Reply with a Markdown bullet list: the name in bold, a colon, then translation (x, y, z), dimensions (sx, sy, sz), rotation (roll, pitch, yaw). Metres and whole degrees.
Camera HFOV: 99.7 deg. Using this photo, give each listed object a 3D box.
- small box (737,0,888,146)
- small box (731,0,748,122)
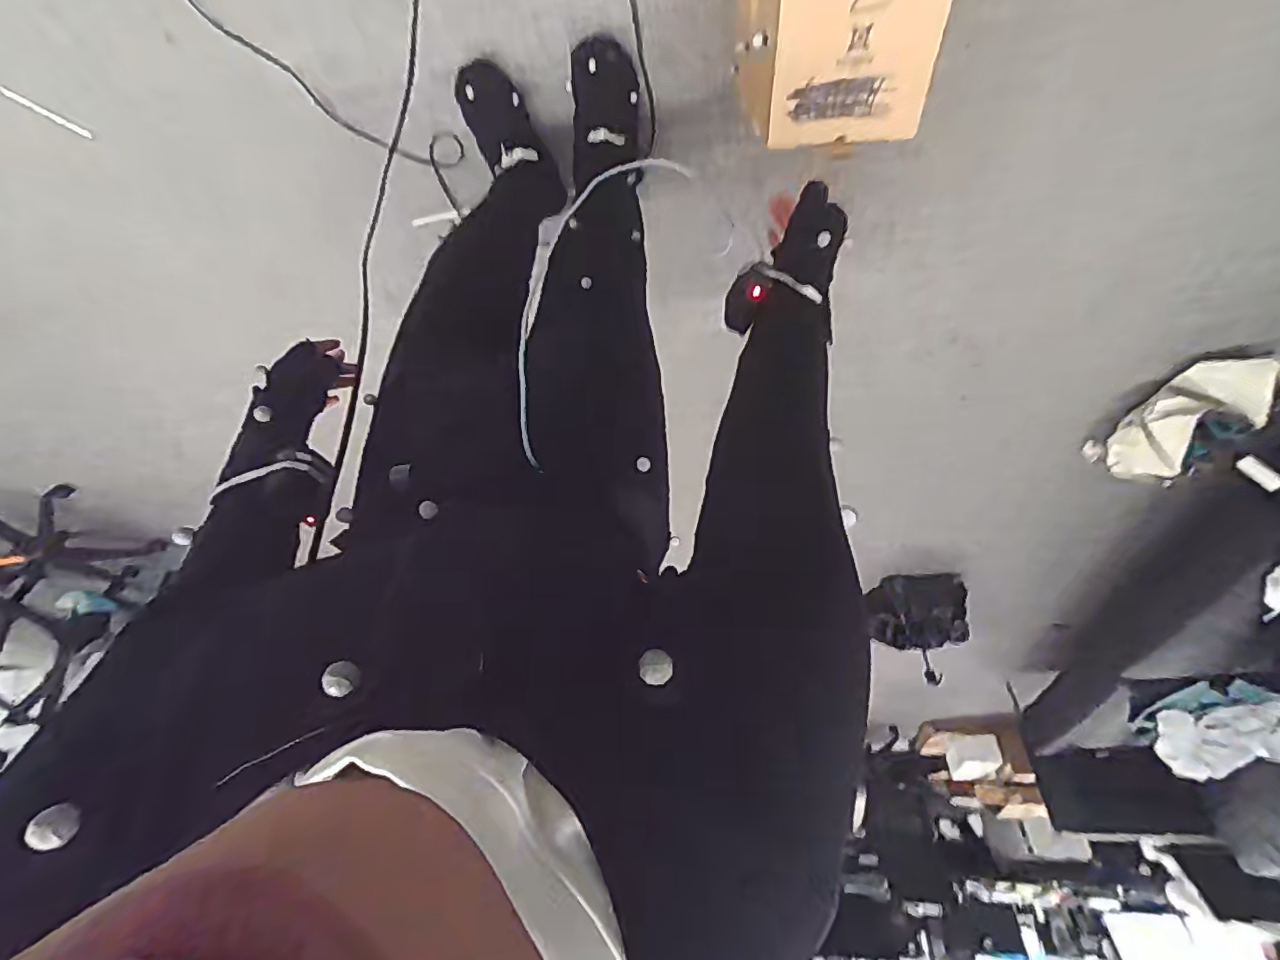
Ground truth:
- **small box**: translation (0.225, -0.596, 0.744), dimensions (0.168, 0.176, 0.179), rotation (-5, 139, 9)
- **small box**: translation (0.237, -0.707, 0.866), dimensions (0.168, 0.176, 0.179), rotation (-3, 139, 6)
